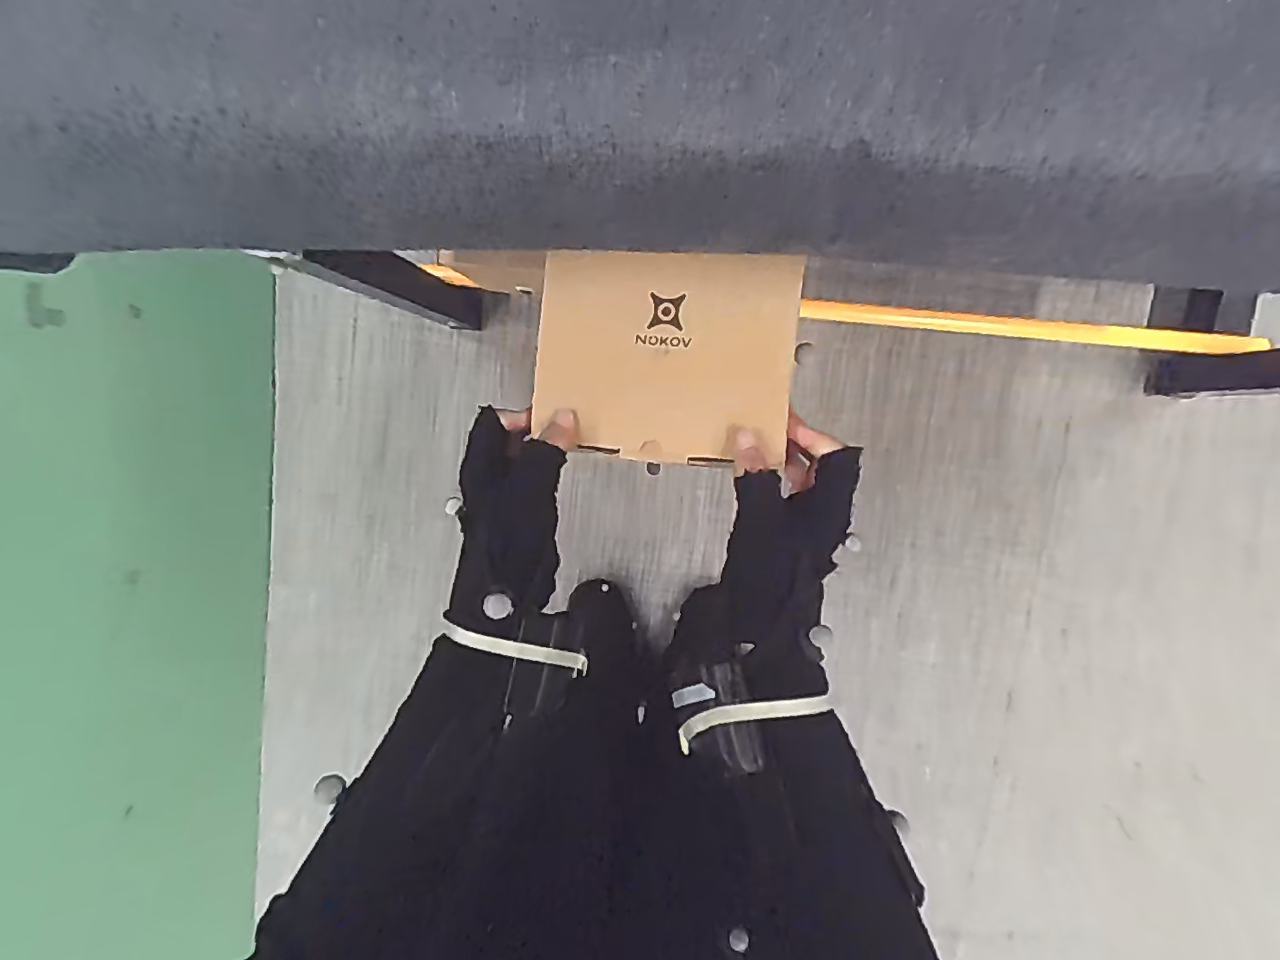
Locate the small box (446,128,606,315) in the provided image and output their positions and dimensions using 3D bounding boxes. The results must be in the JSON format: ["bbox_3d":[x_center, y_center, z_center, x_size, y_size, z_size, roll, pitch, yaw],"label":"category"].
[{"bbox_3d":[-0.139,-0.327,0.715,0.168,0.176,0.179,5,98,4],"label":"small box"}]
